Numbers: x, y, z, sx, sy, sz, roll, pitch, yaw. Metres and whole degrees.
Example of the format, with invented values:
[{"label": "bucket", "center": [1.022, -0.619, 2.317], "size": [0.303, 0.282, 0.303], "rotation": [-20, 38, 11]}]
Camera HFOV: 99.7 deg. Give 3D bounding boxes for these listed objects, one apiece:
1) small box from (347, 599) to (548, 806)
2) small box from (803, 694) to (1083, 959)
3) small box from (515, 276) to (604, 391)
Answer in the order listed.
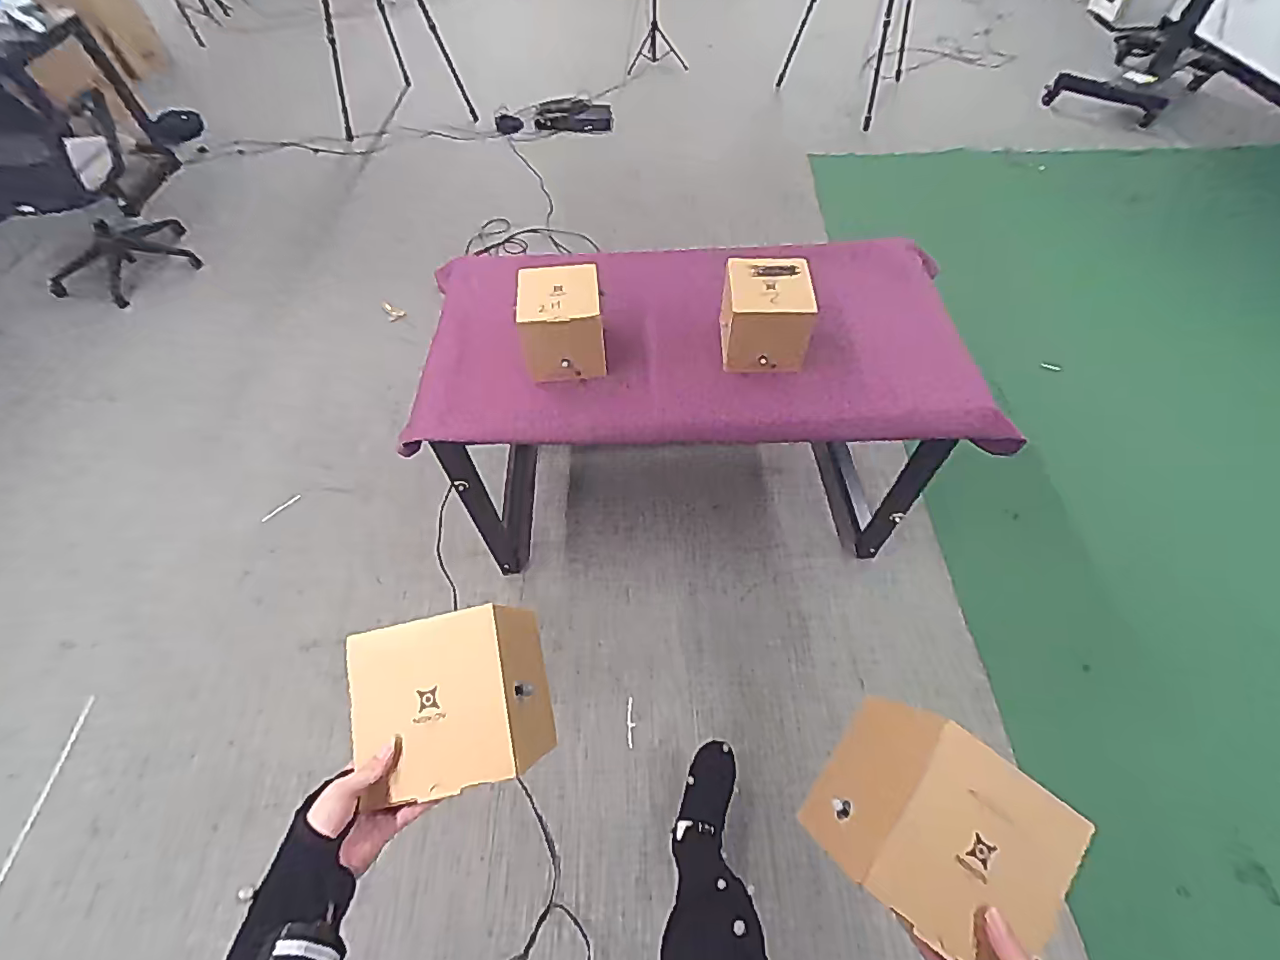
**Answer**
[{"label": "small box", "center": [-0.216, 0.249, 0.635], "size": [0.168, 0.176, 0.179], "rotation": [-13, 73, 0]}, {"label": "small box", "center": [0.297, 0.357, 0.573], "size": [0.168, 0.176, 0.179], "rotation": [37, 76, 5]}, {"label": "small box", "center": [-0.169, -0.316, 1.175], "size": [0.168, 0.176, 0.179], "rotation": [-5, 55, -1]}]
